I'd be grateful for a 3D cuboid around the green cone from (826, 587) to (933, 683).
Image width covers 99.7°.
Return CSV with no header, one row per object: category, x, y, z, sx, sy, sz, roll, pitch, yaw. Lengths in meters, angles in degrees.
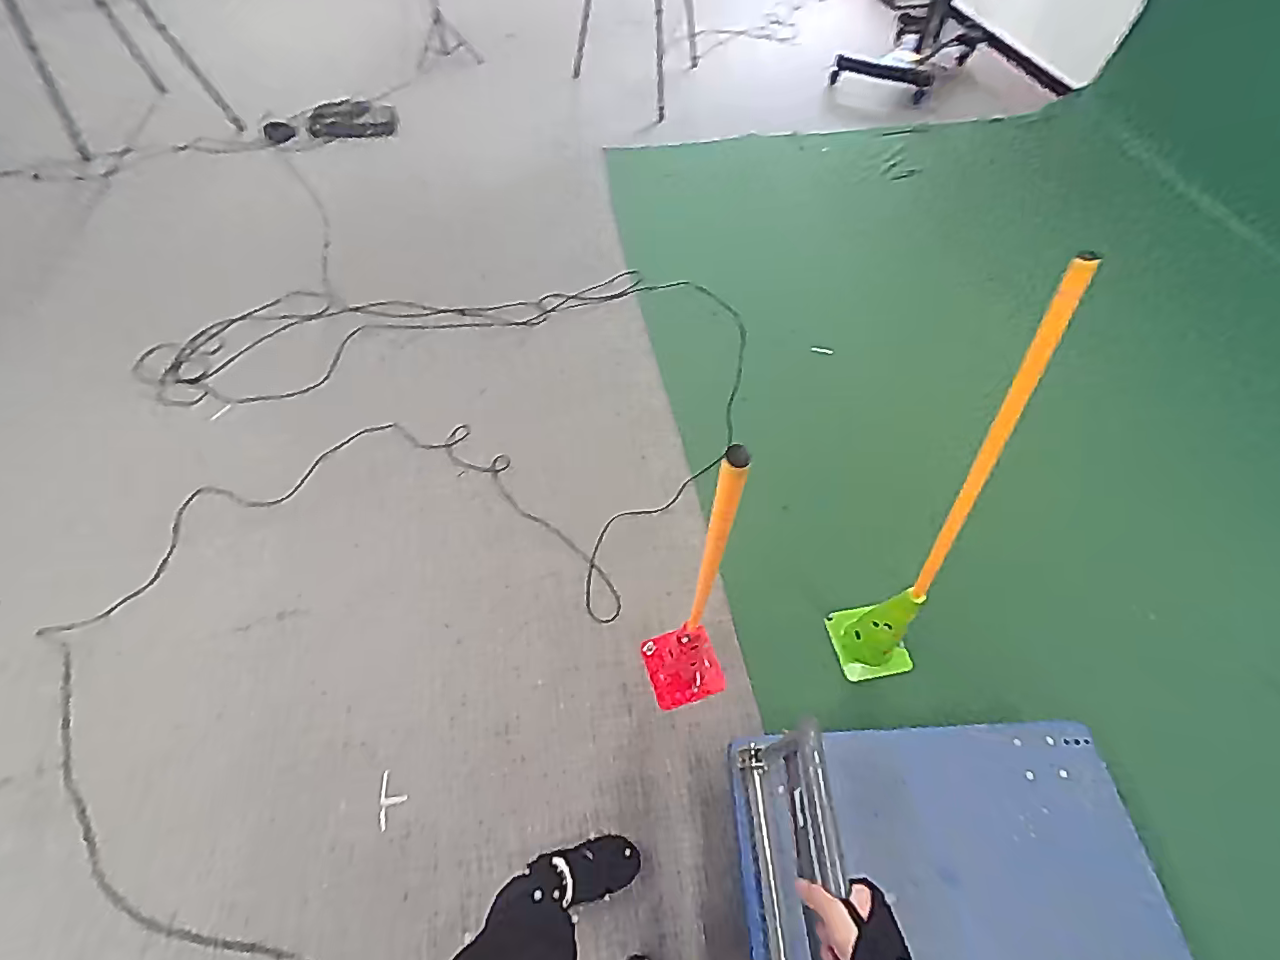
green cone,0.660,0.374,1.412,0.202,0.368,0.200,-8,56,-7
